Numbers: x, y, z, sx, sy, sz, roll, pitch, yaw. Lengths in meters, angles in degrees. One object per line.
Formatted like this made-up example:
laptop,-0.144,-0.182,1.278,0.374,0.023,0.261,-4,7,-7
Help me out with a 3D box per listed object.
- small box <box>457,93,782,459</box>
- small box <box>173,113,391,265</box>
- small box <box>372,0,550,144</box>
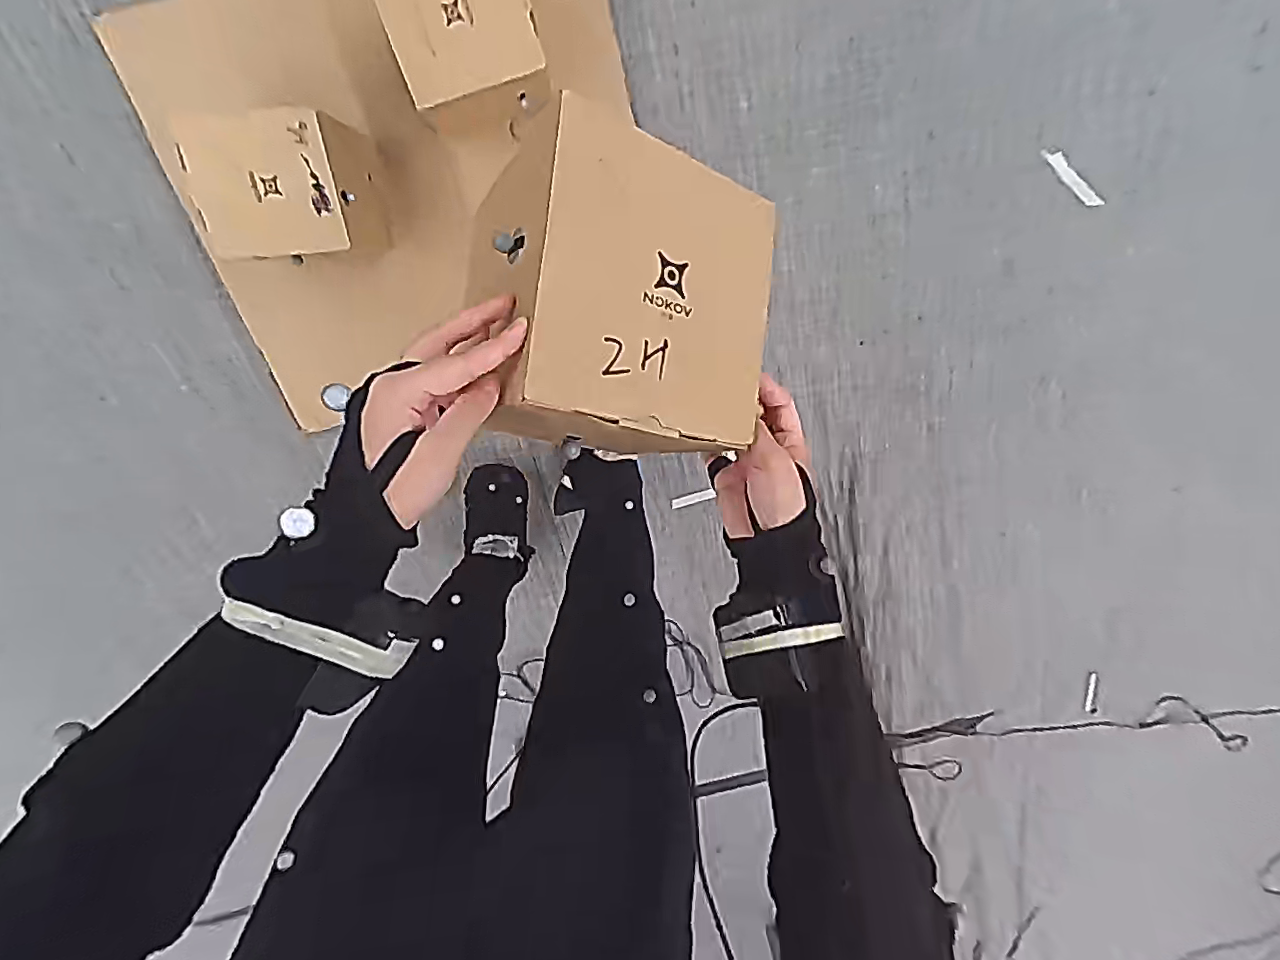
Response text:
small box,-0.023,-0.112,0.390,0.168,0.176,0.179,8,88,-32
small box,-0.484,-0.398,0.764,0.179,0.176,0.168,-6,113,-3
small box,-0.231,-0.583,0.727,0.179,0.176,0.168,-20,112,0
